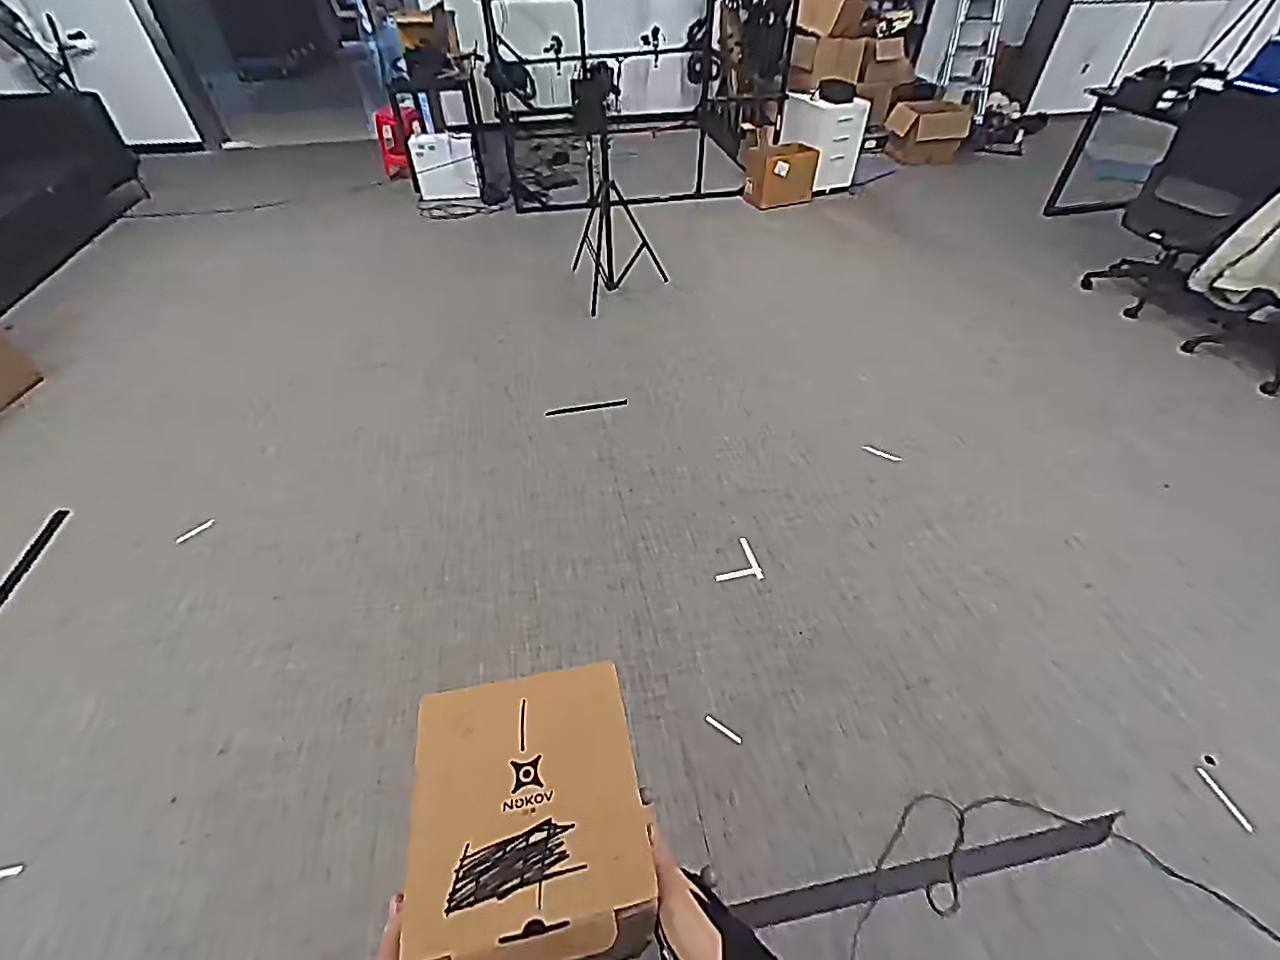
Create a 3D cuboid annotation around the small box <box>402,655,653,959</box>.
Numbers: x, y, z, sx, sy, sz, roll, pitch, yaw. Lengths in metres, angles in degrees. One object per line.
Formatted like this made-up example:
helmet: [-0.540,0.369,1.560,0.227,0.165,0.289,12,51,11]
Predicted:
small box: [-0.085,0.281,0.459,0.168,0.176,0.179,-8,44,-9]
